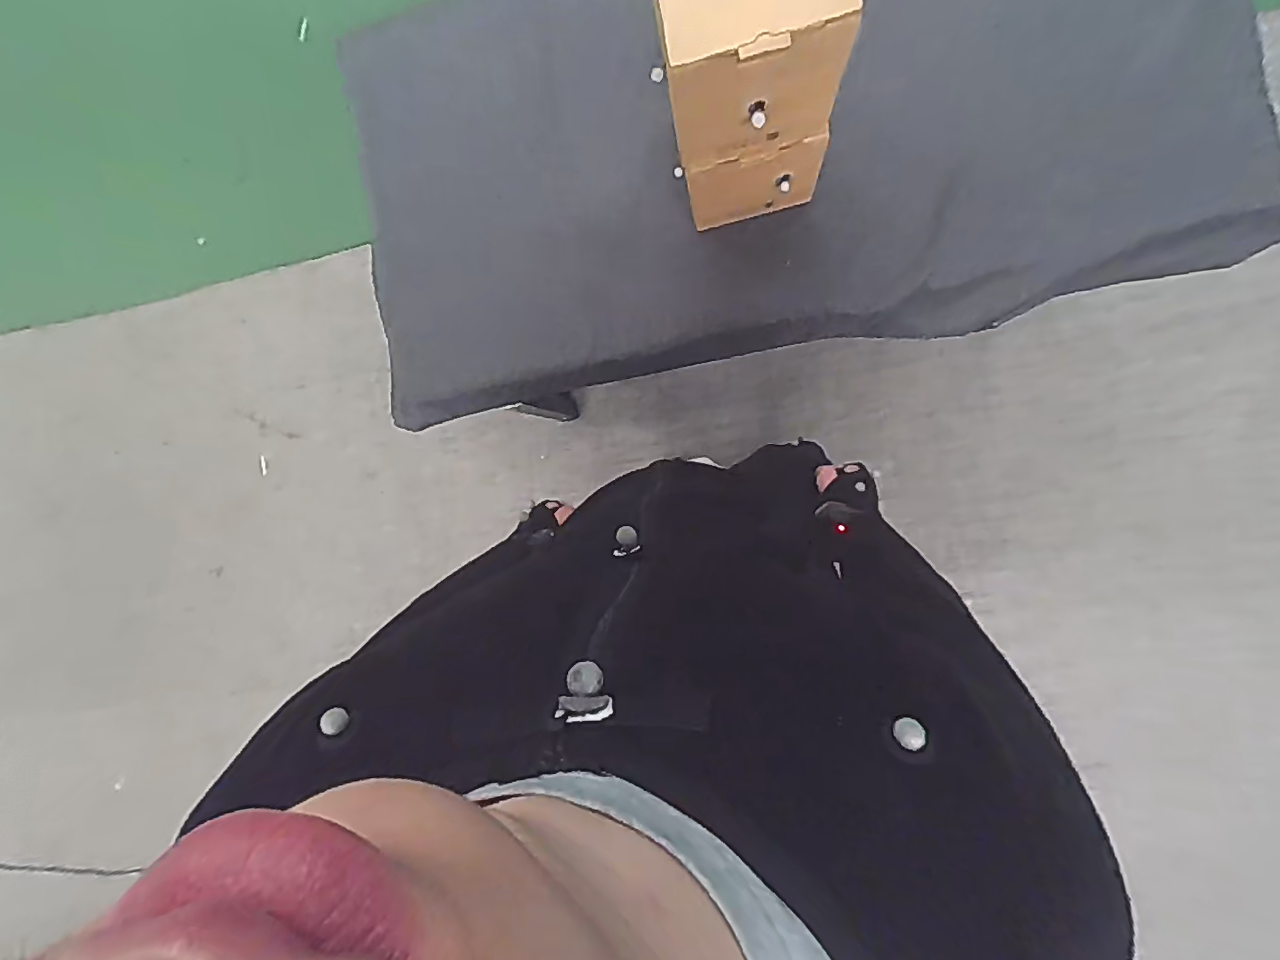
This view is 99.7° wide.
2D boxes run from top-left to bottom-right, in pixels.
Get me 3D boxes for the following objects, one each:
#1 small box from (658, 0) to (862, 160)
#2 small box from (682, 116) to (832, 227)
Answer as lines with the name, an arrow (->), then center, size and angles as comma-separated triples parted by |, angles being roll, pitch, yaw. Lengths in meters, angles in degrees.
small box -> 0.107, -0.454, 0.543 | 0.168, 0.176, 0.179 | -10, 92, 8
small box -> 0.138, -0.456, 0.704 | 0.168, 0.176, 0.179 | -12, 89, 9
